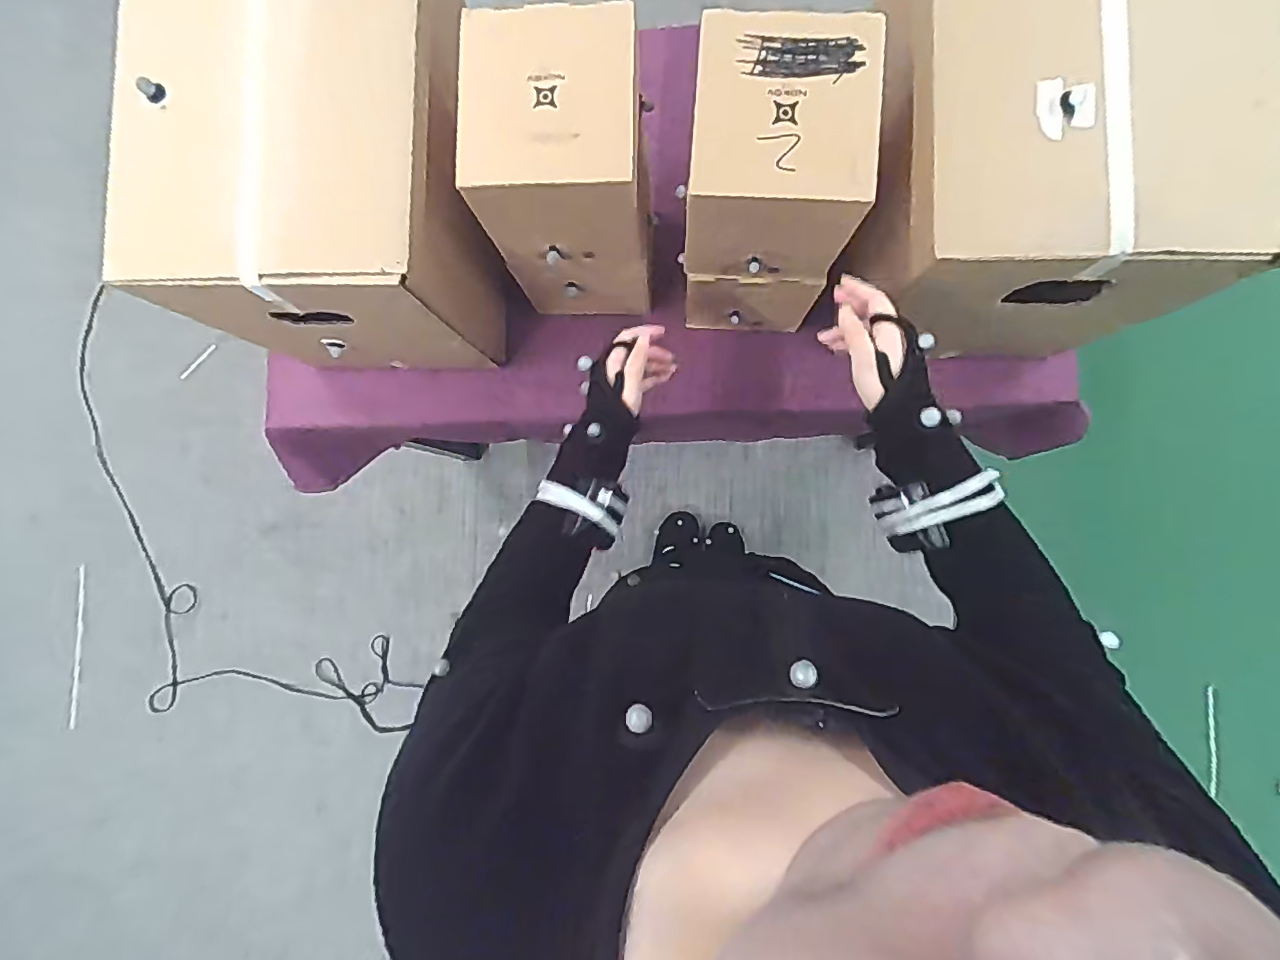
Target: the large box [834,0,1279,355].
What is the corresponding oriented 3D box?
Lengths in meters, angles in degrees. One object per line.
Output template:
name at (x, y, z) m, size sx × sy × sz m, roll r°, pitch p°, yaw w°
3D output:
large box at (0.438, -0.391, 0.653) m, size 0.320 × 0.320 × 0.408 m, roll 2°, pitch 87°, yaw 3°
